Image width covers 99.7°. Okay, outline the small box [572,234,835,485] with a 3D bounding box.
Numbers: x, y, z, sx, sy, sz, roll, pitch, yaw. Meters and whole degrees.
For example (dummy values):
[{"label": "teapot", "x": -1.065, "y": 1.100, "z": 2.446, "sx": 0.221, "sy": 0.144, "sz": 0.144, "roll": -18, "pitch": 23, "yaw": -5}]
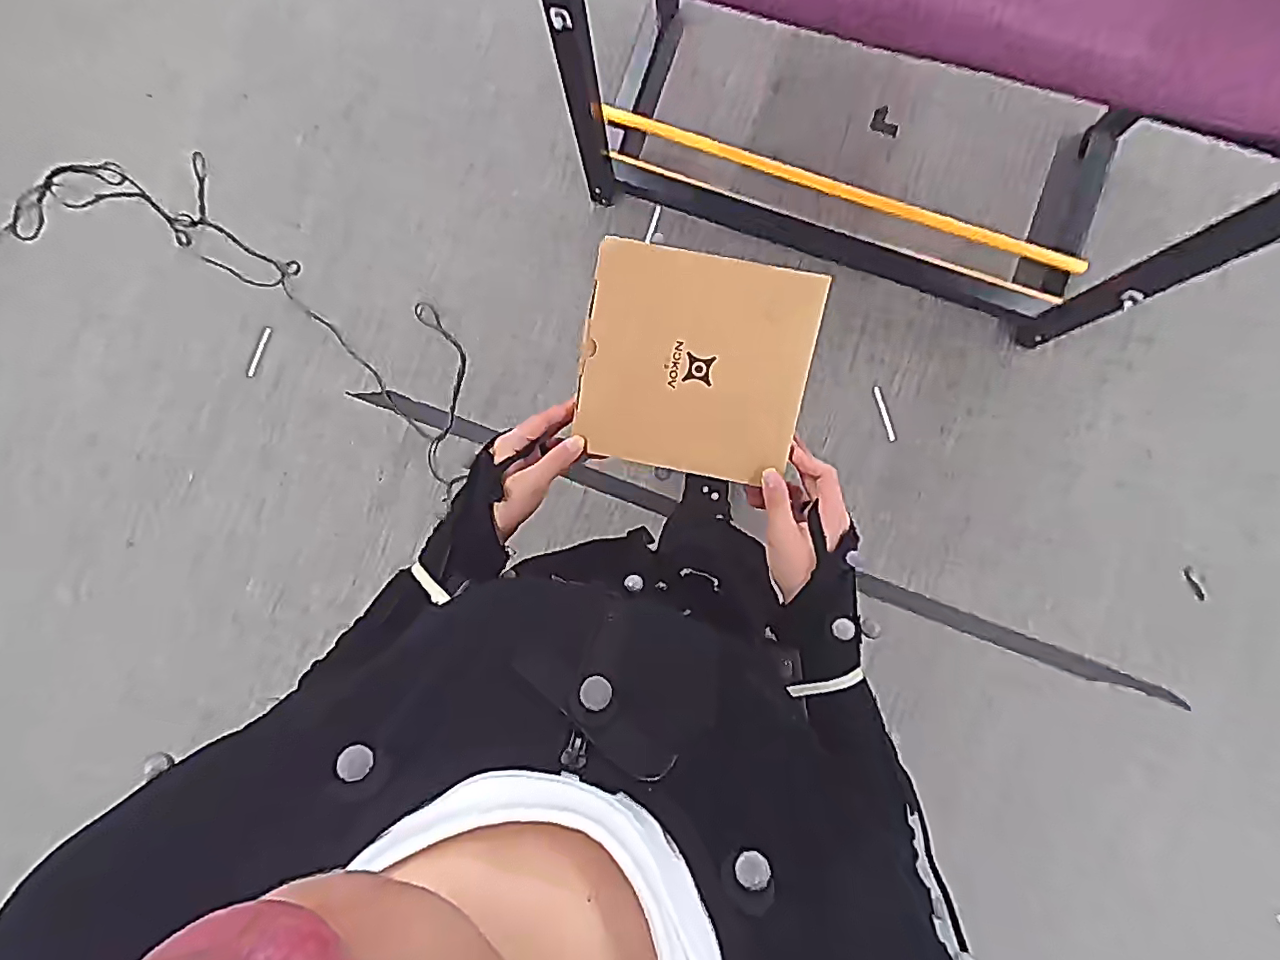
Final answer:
[{"label": "small box", "x": 0.051, "y": -0.105, "z": 0.491, "sx": 0.179, "sy": 0.176, "sz": 0.168, "roll": 11, "pitch": 101, "yaw": 4}]
